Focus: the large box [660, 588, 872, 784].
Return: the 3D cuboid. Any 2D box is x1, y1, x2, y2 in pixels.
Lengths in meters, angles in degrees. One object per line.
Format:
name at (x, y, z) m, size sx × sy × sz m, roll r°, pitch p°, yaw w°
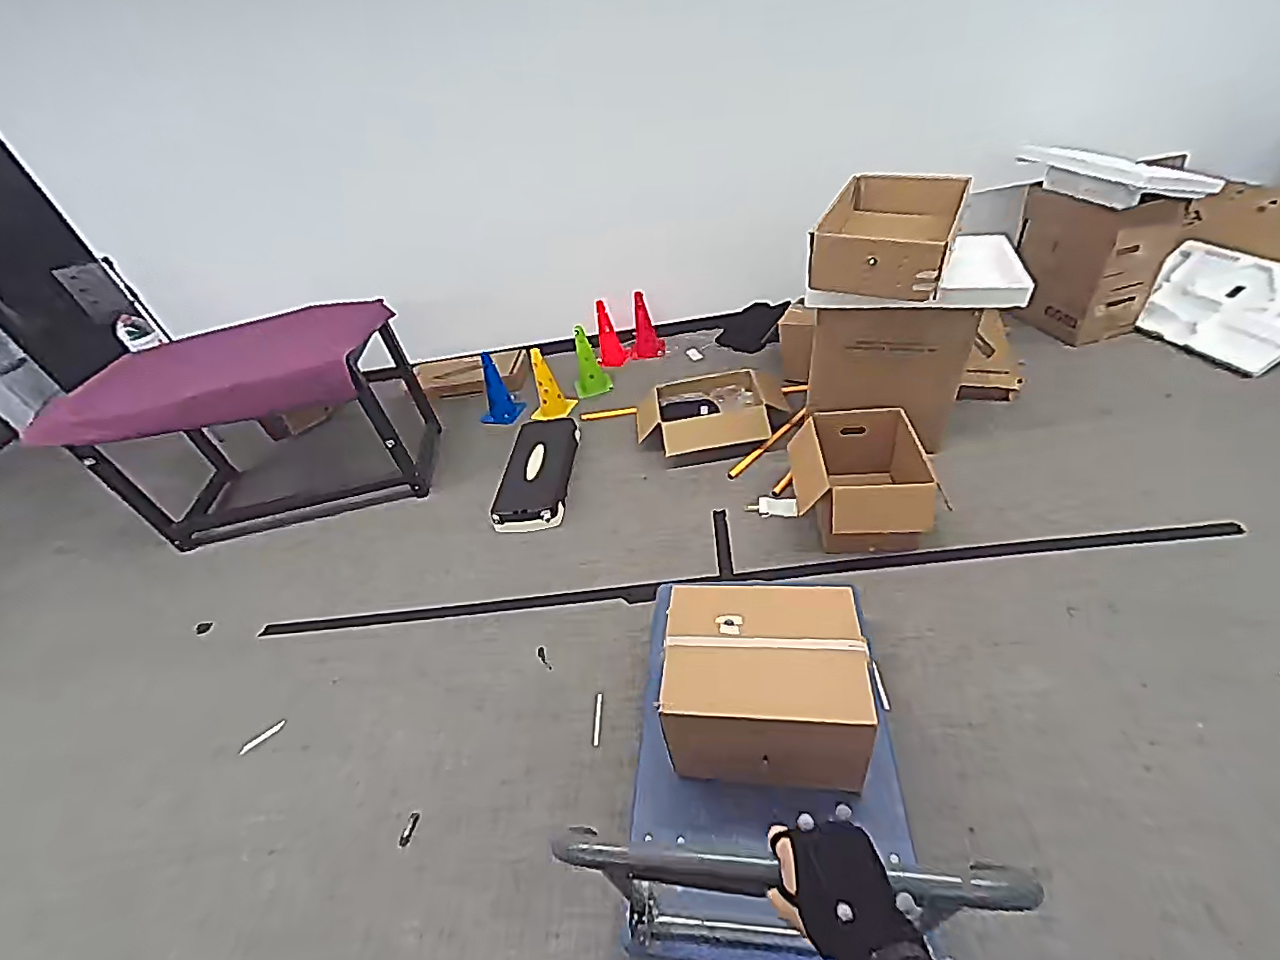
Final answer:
large box at (0.277, 0.469, 1.234) m, size 0.408 × 0.320 × 0.320 m, roll -4°, pitch 39°, yaw 12°
